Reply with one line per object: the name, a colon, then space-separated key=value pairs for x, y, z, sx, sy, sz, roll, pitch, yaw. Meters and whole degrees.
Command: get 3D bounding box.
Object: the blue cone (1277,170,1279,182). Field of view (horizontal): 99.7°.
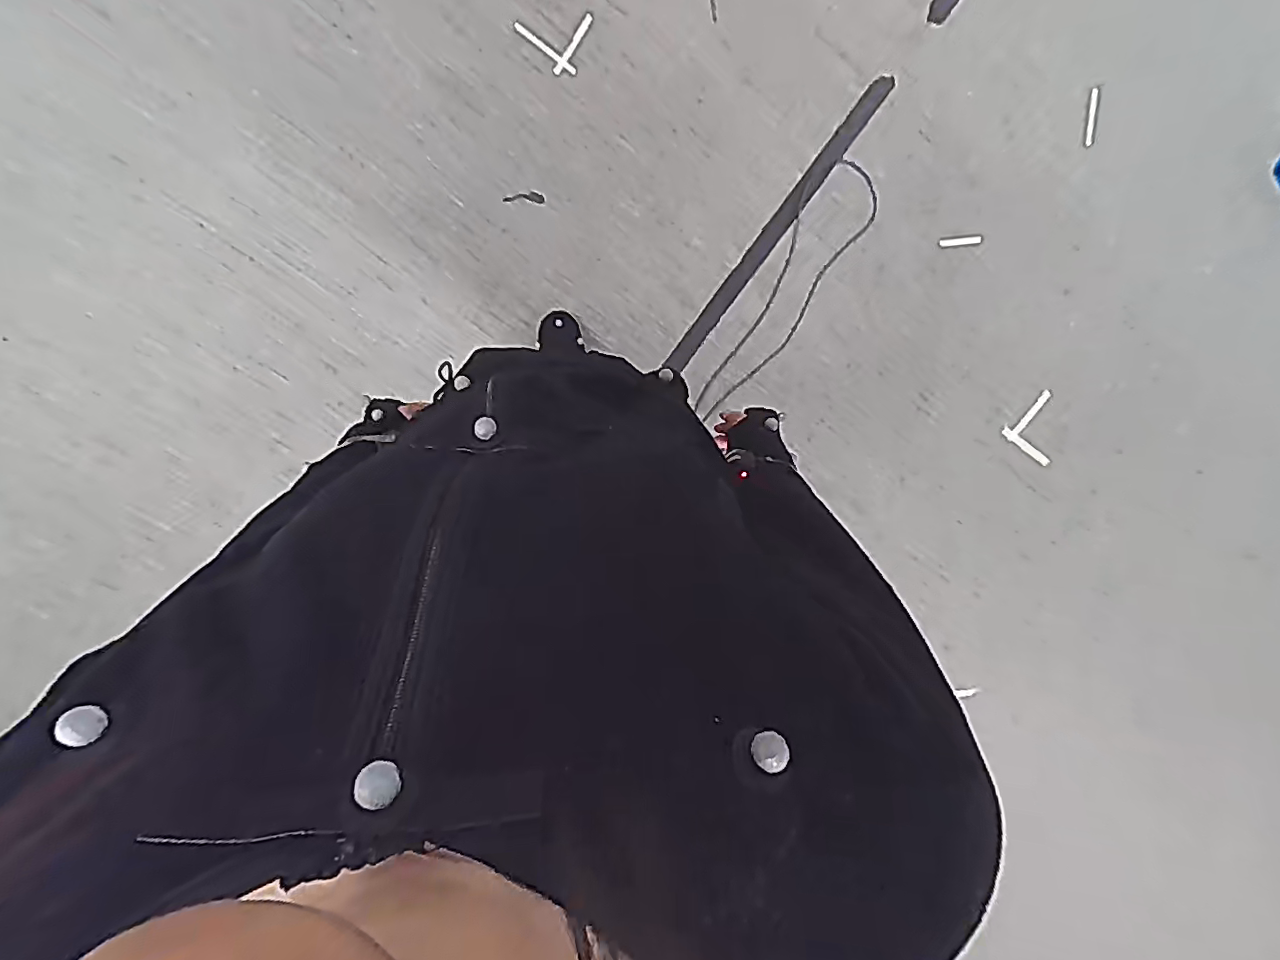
blue cone: x=1.709 y=-0.729 z=1.181 sx=0.193 sy=0.380 sz=0.192 roll=39 pitch=100 yaw=-12
